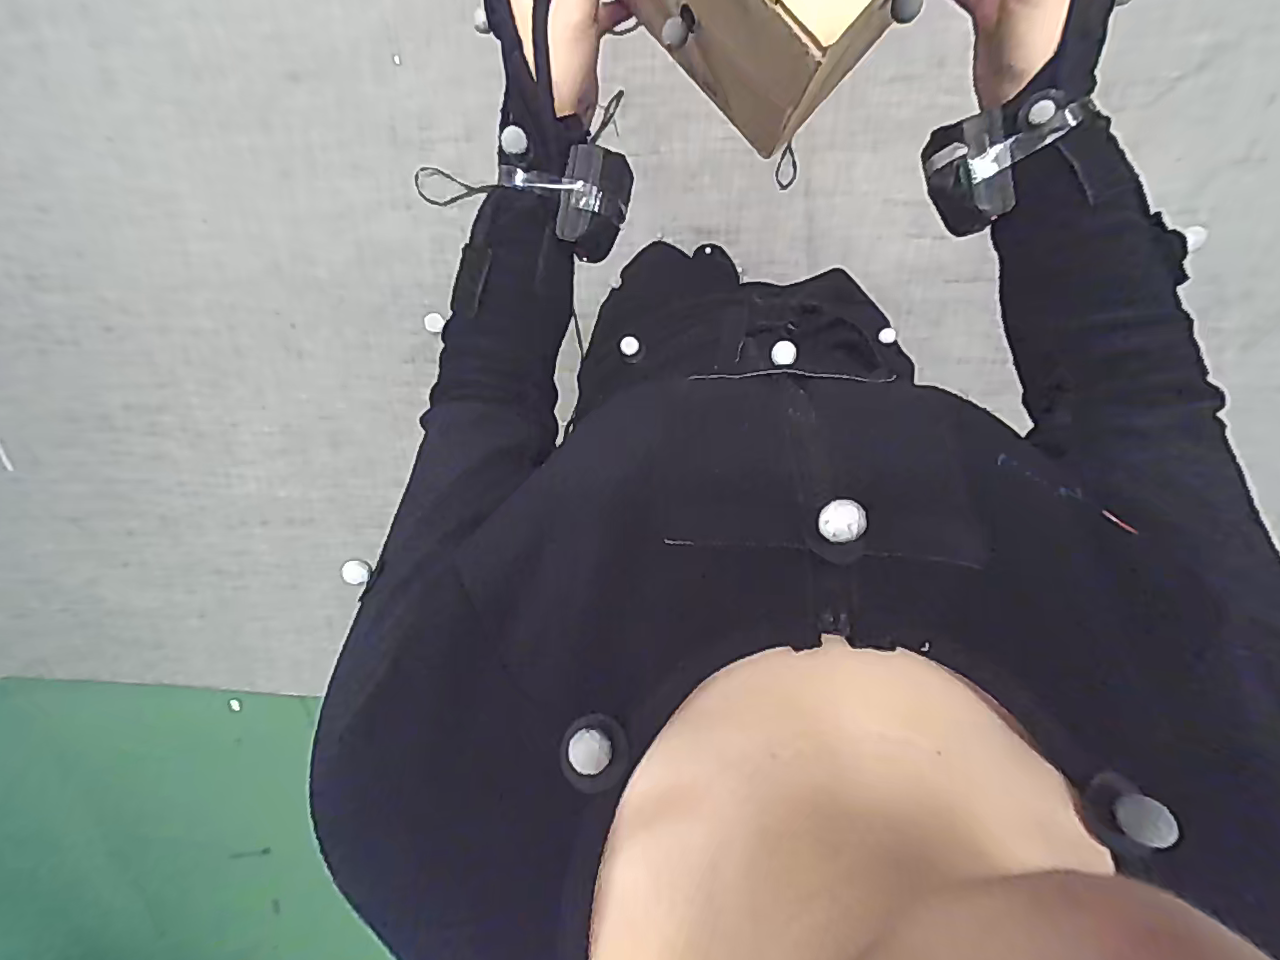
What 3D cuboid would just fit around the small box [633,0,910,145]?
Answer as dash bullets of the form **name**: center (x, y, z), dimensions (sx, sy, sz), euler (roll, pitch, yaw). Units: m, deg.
- **small box**: center (0.085, -0.323, 0.285), dimensions (0.168, 0.176, 0.179), euler (43, 106, -8)
